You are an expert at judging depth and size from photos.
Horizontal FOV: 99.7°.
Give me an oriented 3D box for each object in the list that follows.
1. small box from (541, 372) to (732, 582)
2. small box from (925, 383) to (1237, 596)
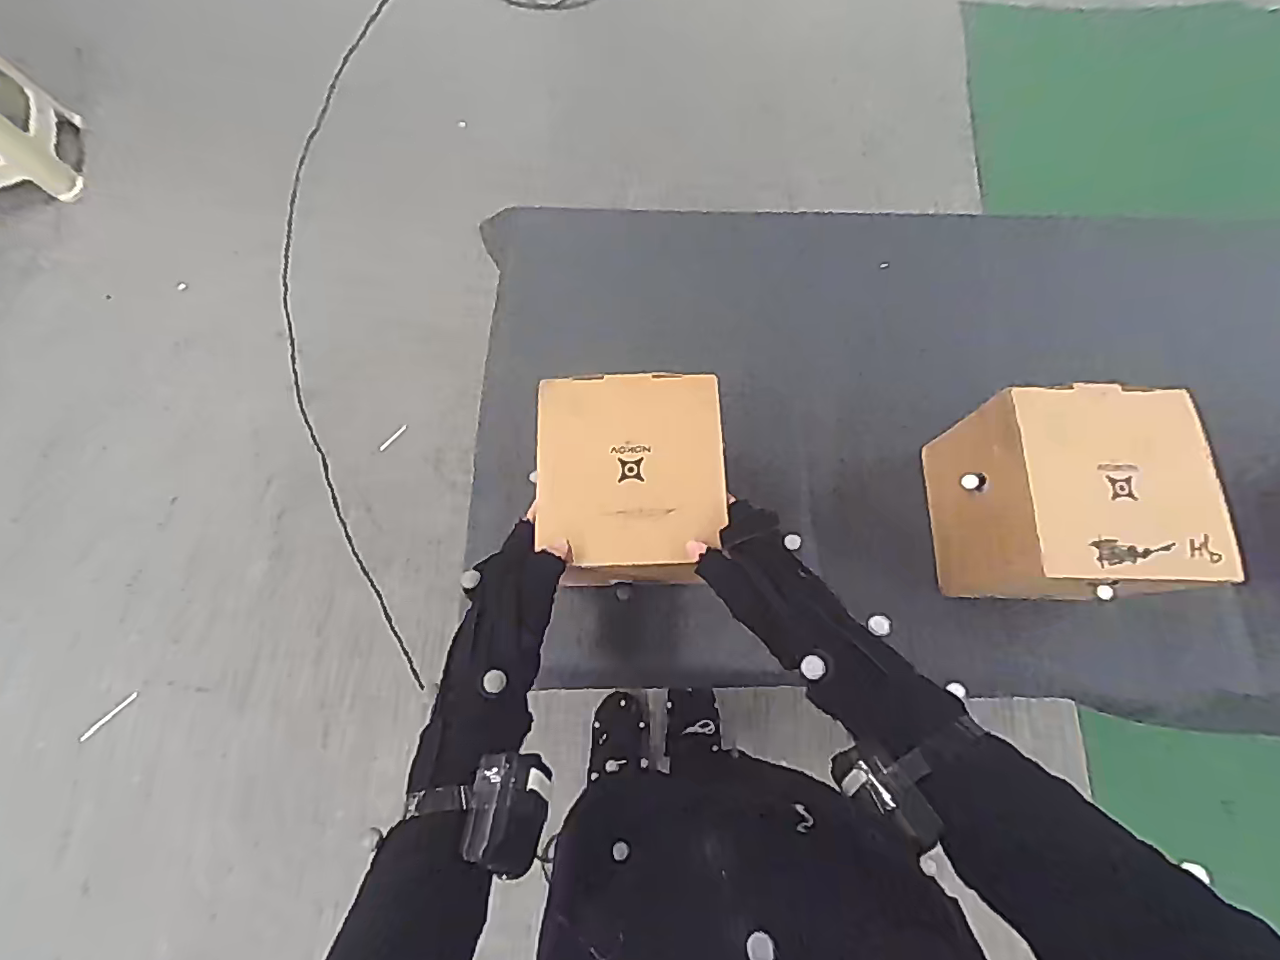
[{"bbox_3d":[-0.005,0.006,0.557,0.168,0.176,0.179,-2,75,0],"label":"small box"},{"bbox_3d":[0.416,0.018,0.550,0.168,0.176,0.179,1,73,2],"label":"small box"}]
